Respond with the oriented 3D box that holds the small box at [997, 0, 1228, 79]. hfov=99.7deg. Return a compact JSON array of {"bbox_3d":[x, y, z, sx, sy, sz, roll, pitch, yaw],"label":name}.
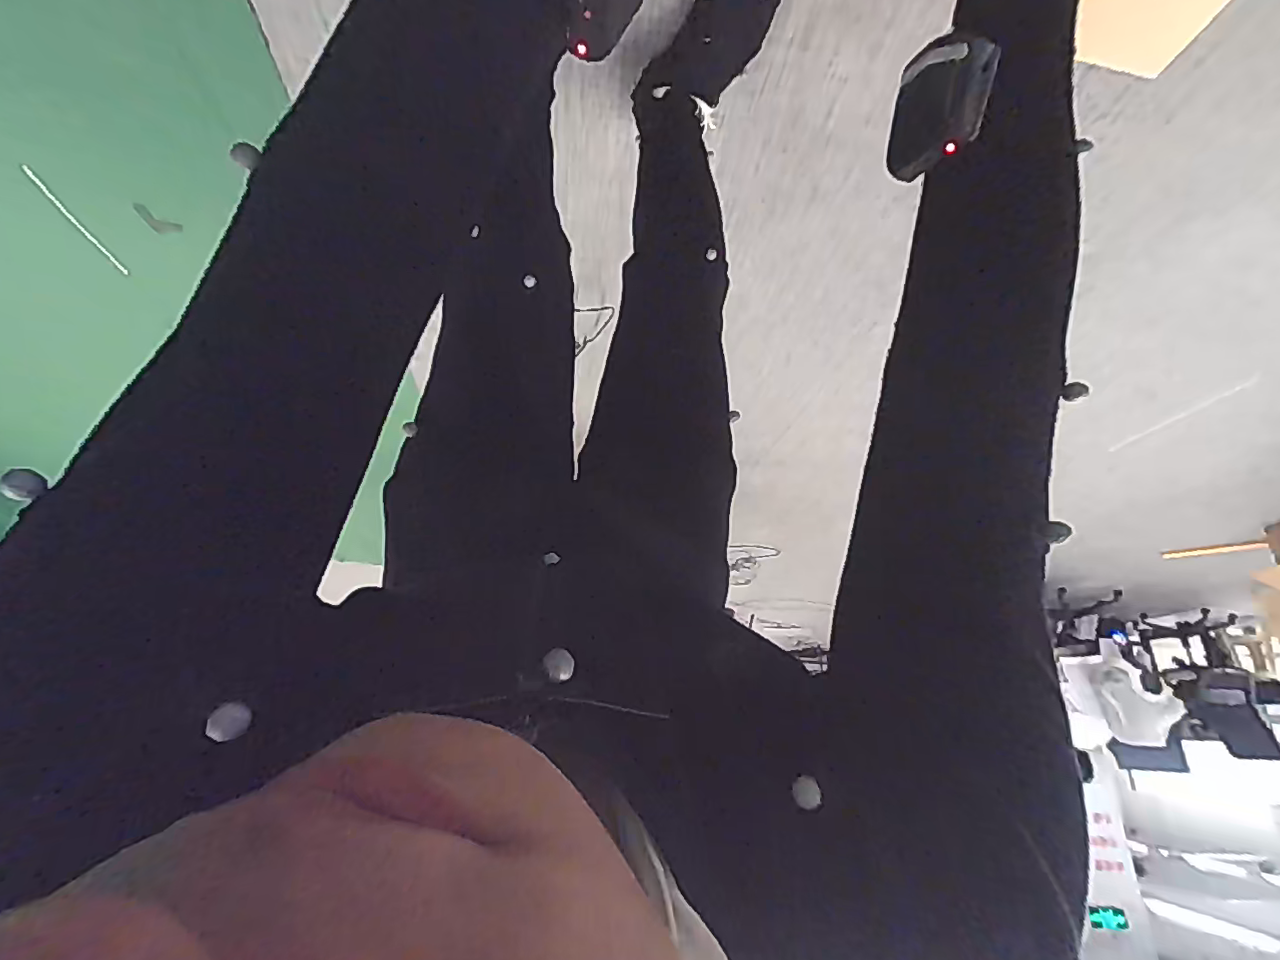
[{"bbox_3d":[0.488,-0.548,0.533,0.179,0.176,0.168,8,157,-7],"label":"small box"}]
